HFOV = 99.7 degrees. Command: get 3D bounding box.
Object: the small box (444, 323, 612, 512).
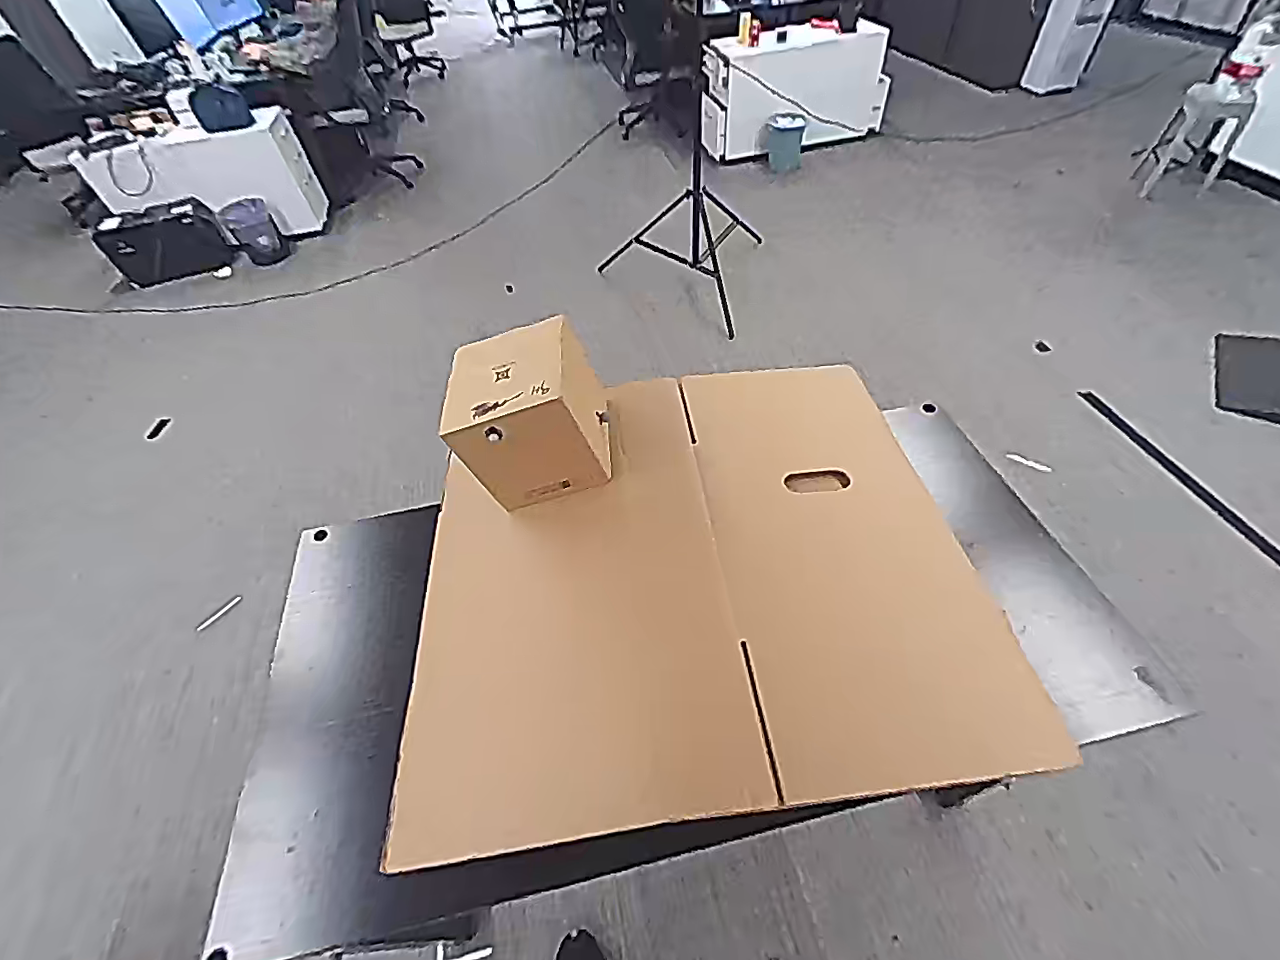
[{"bbox_3d":[-0.145,-0.084,0.762,0.168,0.176,0.179,-16,47,11],"label":"small box"}]
